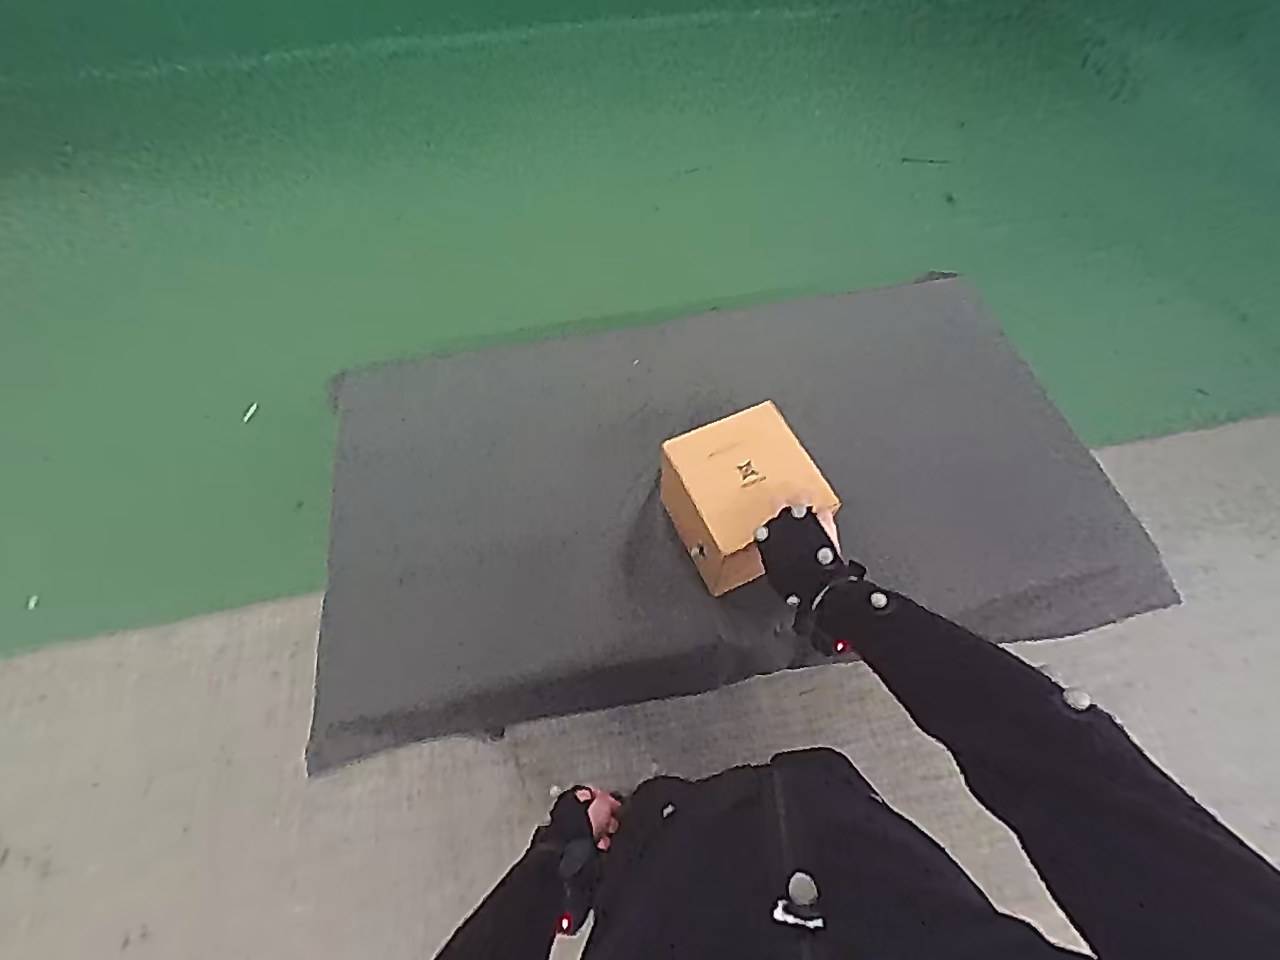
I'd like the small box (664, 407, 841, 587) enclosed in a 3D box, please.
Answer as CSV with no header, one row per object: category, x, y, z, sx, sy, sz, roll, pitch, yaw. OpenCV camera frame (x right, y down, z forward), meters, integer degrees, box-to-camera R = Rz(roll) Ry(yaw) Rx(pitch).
small box,0.143,0.034,0.760,0.168,0.176,0.179,-21,62,-12
